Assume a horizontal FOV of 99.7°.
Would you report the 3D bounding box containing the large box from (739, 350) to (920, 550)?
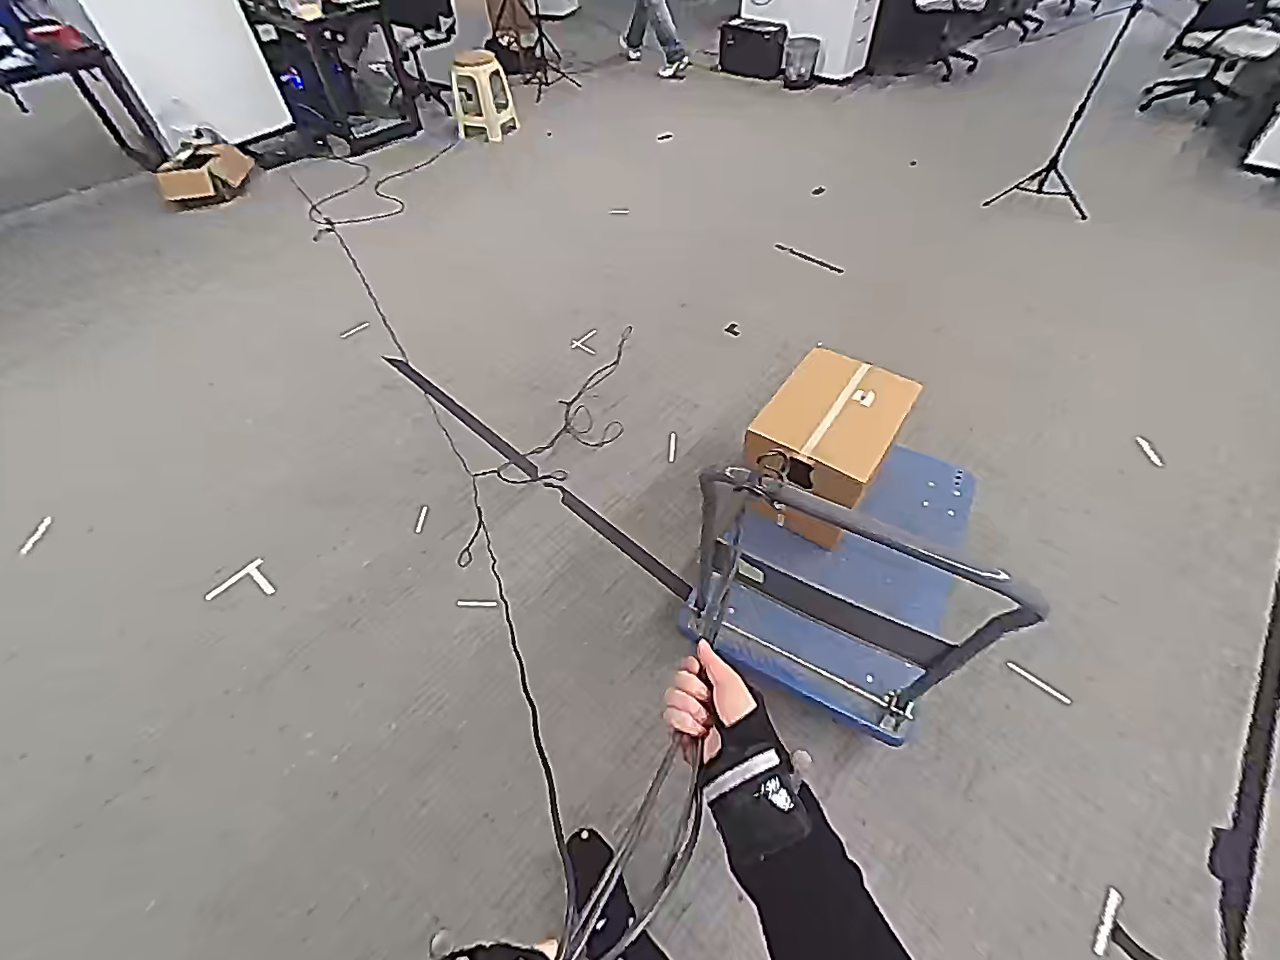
[{"bbox_3d":[0.514,-0.087,1.509,0.320,0.320,0.408,29,58,22],"label":"large box"}]
